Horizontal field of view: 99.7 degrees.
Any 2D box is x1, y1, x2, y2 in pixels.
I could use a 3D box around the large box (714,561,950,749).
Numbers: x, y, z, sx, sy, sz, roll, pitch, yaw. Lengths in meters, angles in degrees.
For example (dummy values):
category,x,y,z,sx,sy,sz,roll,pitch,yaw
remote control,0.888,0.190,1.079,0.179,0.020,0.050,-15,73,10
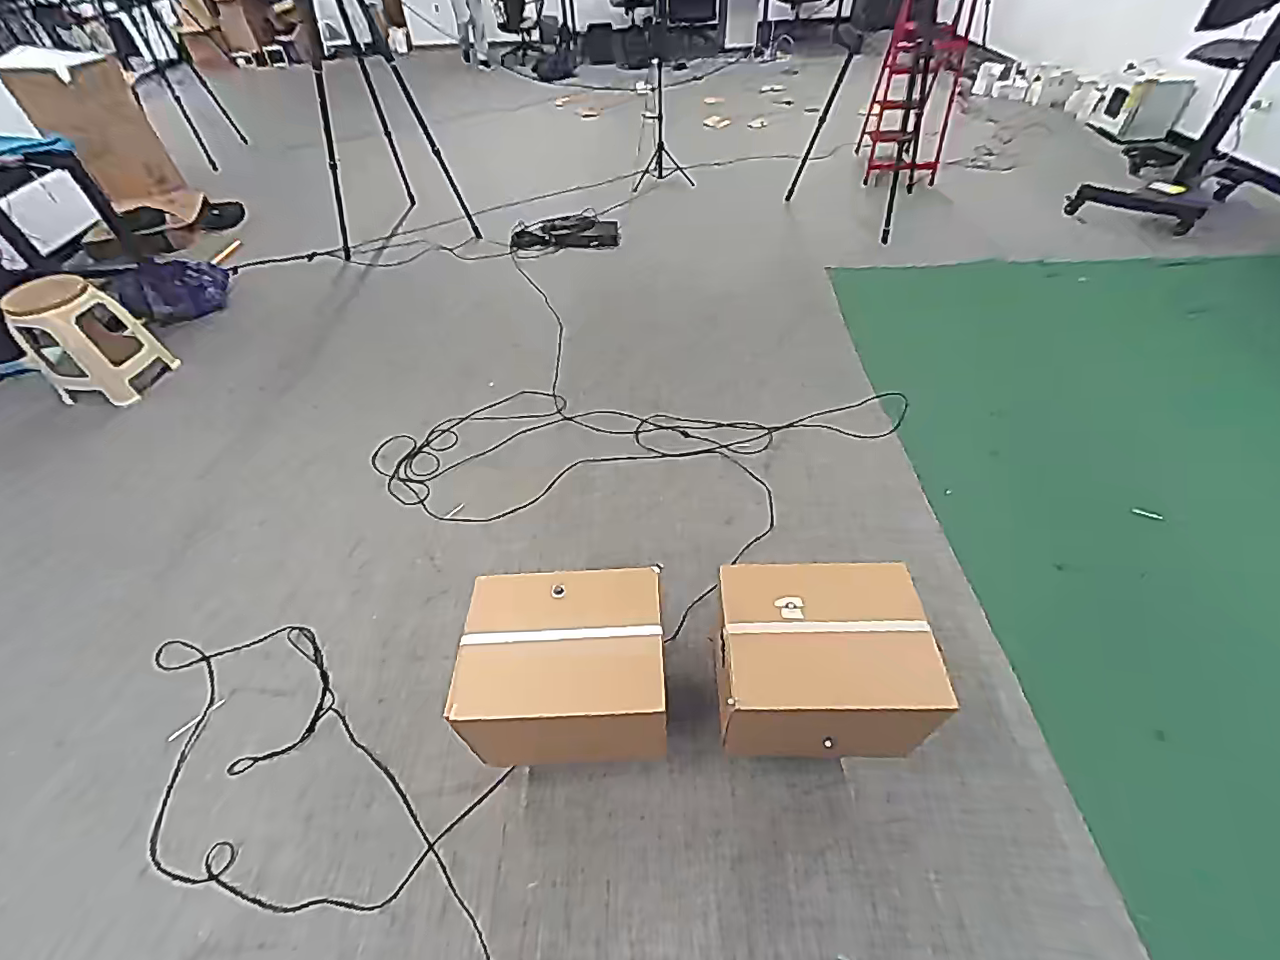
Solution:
category,x,y,z,sx,sy,sz,roll,pitch,yaw
large box,0.383,0.397,1.207,0.408,0.320,0.320,-1,48,3
